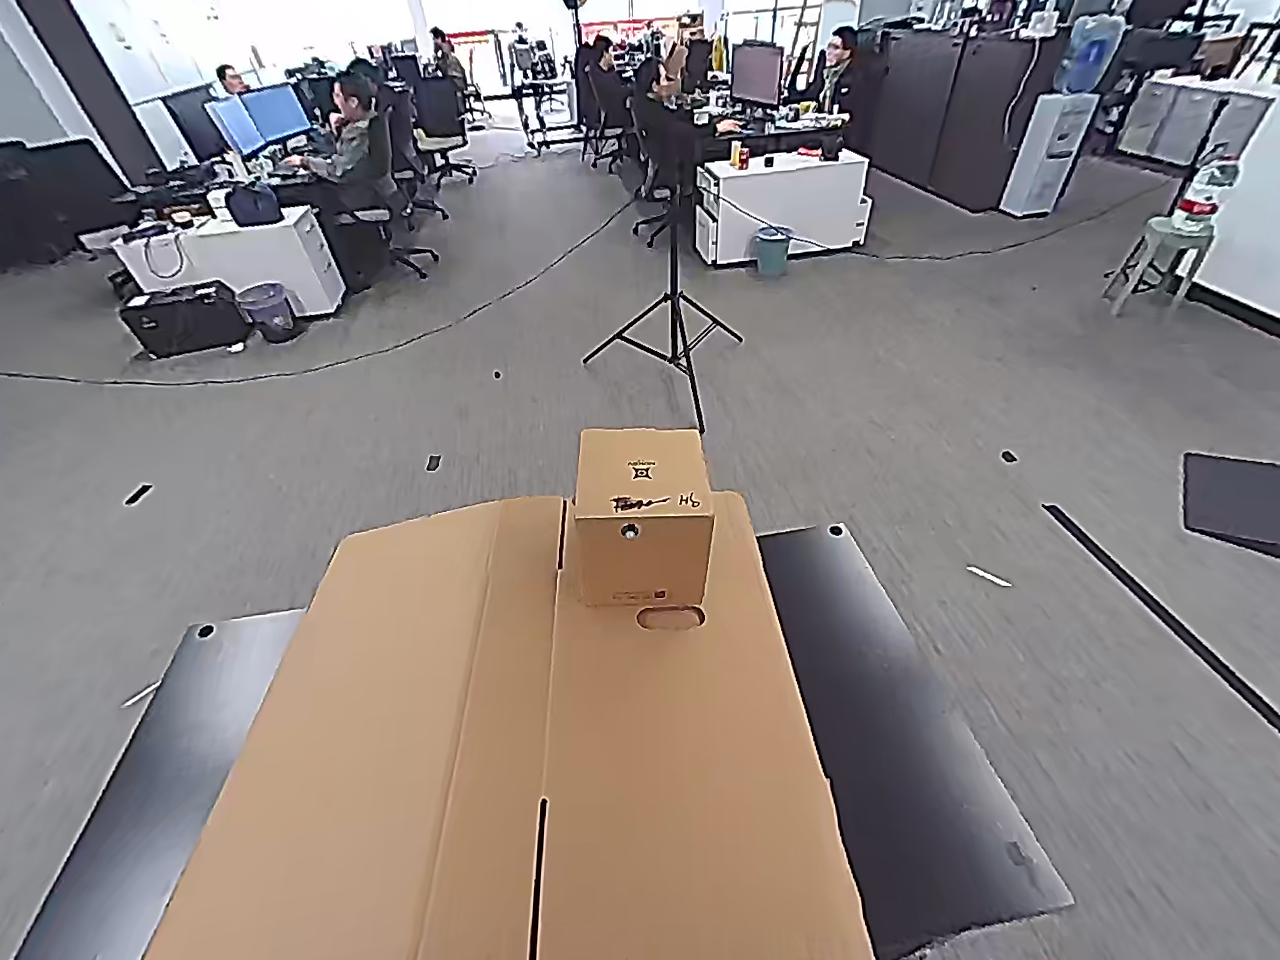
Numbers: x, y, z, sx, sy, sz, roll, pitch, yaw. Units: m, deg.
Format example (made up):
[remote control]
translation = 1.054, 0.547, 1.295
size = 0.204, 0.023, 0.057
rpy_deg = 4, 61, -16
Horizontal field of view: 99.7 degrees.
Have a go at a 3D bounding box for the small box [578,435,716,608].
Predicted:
[small box]
translation = 0.006, 0.055, 0.744
size = 0.168, 0.176, 0.179
rpy_deg = -1, 40, -1
